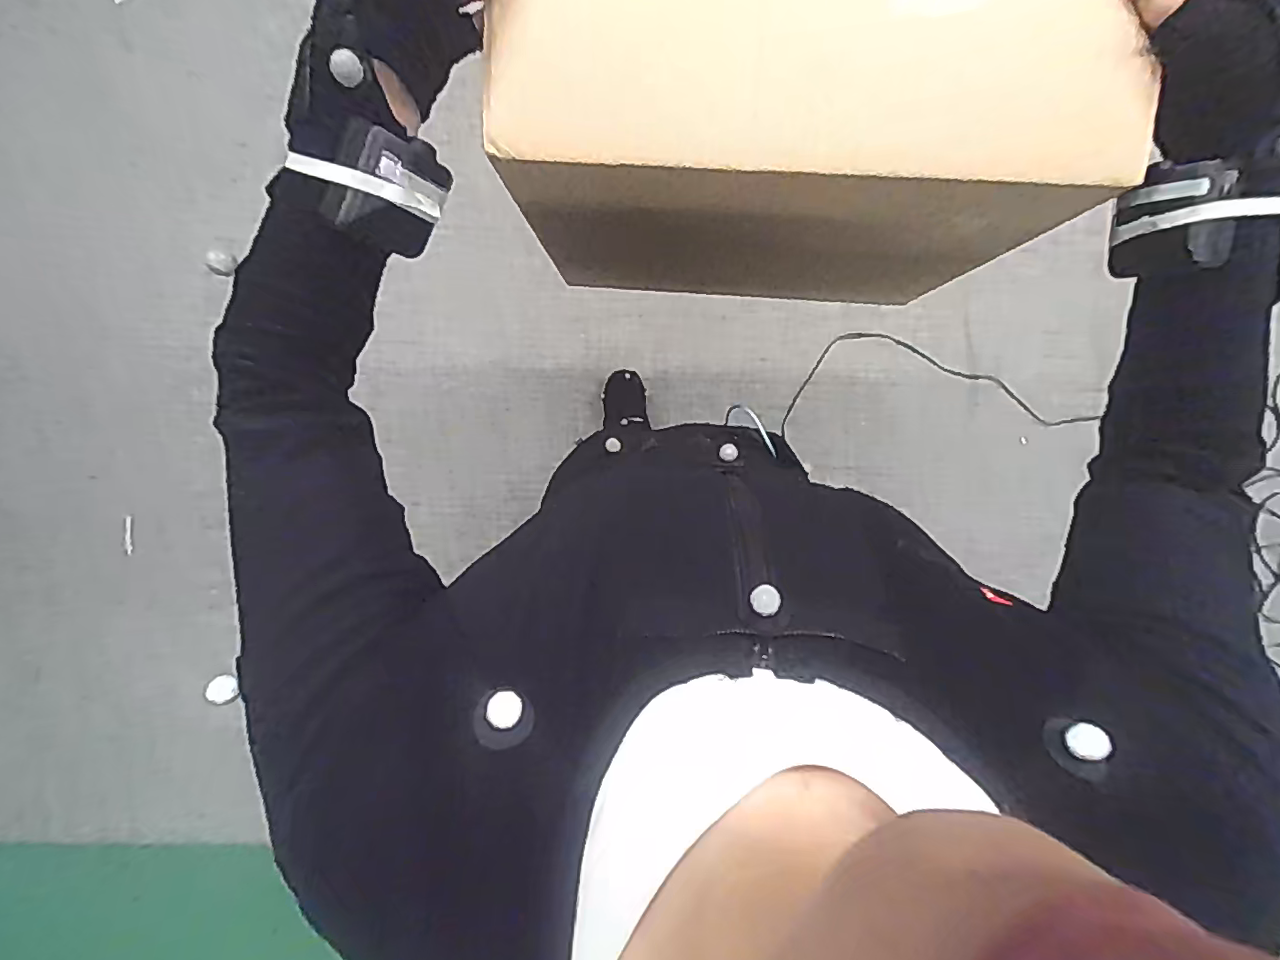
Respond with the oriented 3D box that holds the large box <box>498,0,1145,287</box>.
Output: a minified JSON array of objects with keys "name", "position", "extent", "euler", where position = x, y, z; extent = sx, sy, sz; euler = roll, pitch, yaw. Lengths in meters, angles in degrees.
[{"name":"large box","position":[0.114,-0.370,0.478],"extent":[0.408,0.320,0.320],"euler":[3,96,2]}]
